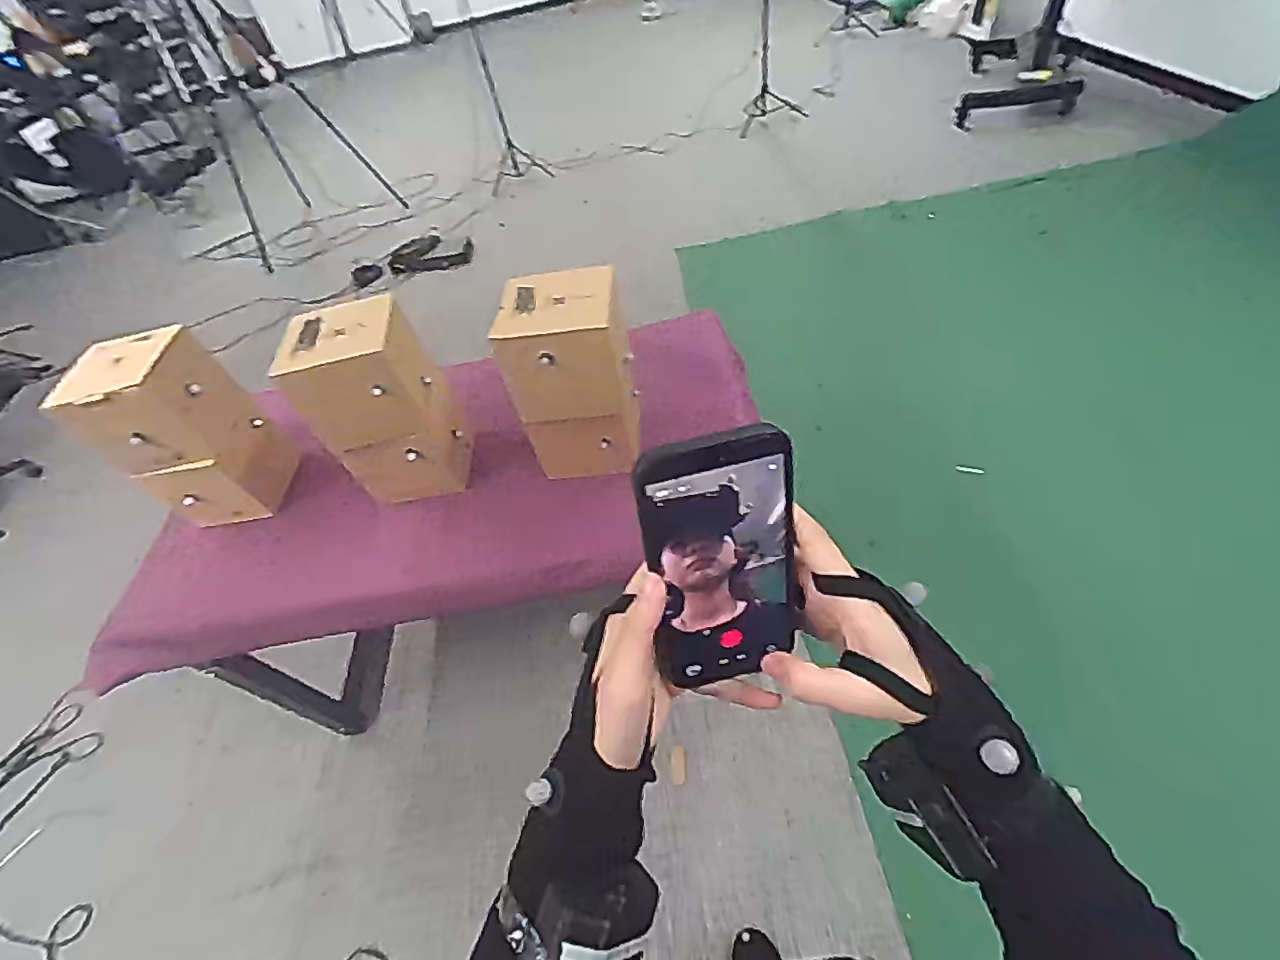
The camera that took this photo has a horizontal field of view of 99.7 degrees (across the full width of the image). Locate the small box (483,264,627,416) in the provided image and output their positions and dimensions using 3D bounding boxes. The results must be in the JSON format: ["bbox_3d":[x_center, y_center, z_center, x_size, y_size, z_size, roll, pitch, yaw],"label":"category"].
[{"bbox_3d":[-0.125,-0.218,0.867,0.179,0.176,0.168,-4,51,7],"label":"small box"}]

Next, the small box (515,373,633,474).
[{"bbox_3d":[-0.110,-0.127,1.003,0.179,0.176,0.168,-4,50,8],"label":"small box"}]

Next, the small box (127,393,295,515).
[{"bbox_3d":[-0.833,-0.043,1.075,0.168,0.176,0.179,-8,50,4],"label":"small box"}]

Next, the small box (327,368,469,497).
[{"bbox_3d":[-0.447,-0.087,1.034,0.179,0.176,0.168,-9,50,4],"label":"small box"}]

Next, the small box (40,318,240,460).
[{"bbox_3d":[-0.858,-0.152,0.954,0.168,0.176,0.179,-12,51,0],"label":"small box"}]
